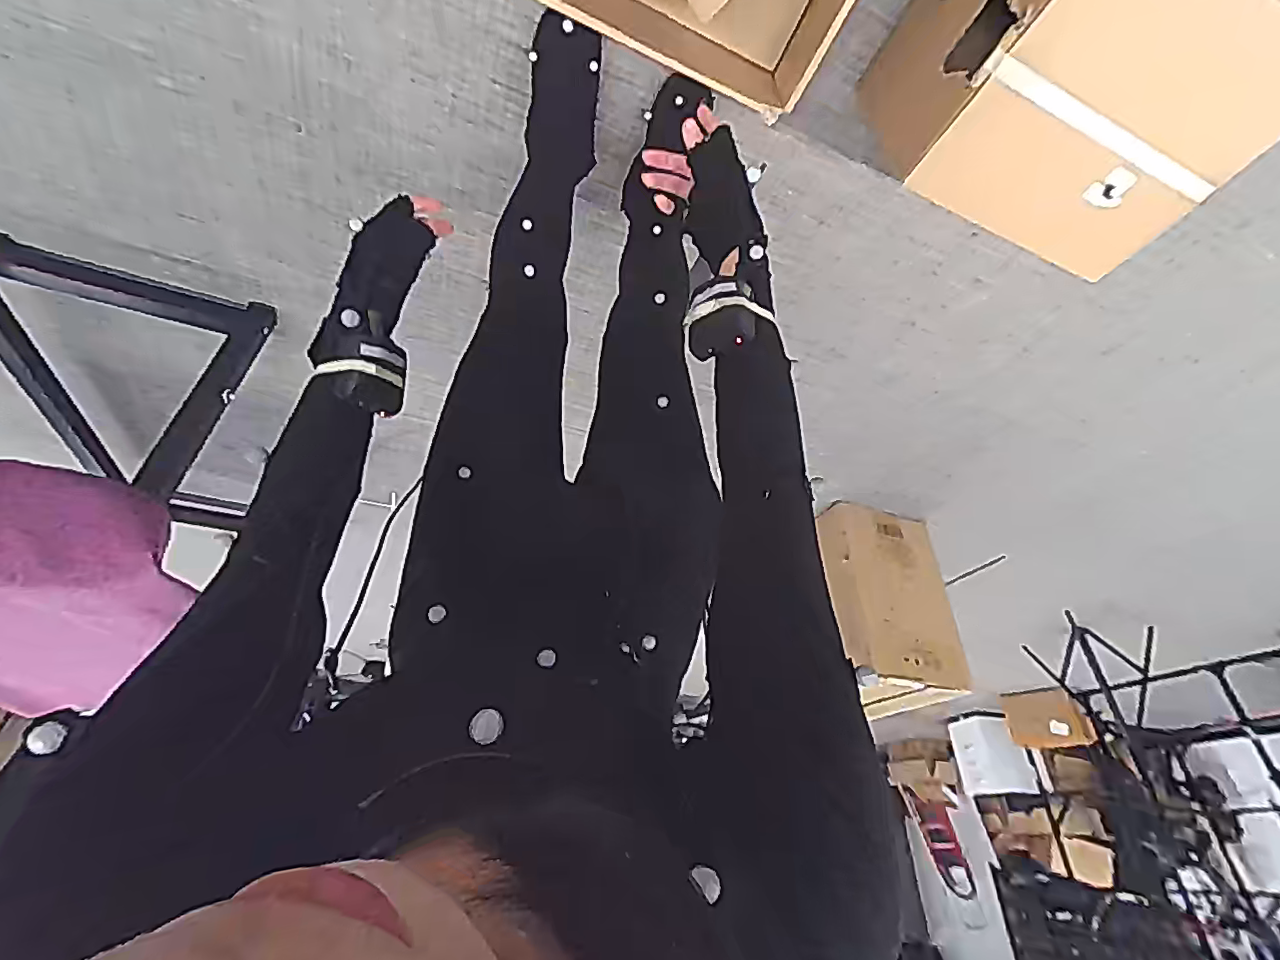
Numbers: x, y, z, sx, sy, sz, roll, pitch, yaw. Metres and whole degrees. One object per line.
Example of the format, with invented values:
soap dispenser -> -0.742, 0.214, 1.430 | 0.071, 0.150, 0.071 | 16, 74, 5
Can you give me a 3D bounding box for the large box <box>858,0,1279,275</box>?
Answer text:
large box -> 0.597, -0.566, 0.765 | 0.408, 0.320, 0.320 | 13, 144, -18
